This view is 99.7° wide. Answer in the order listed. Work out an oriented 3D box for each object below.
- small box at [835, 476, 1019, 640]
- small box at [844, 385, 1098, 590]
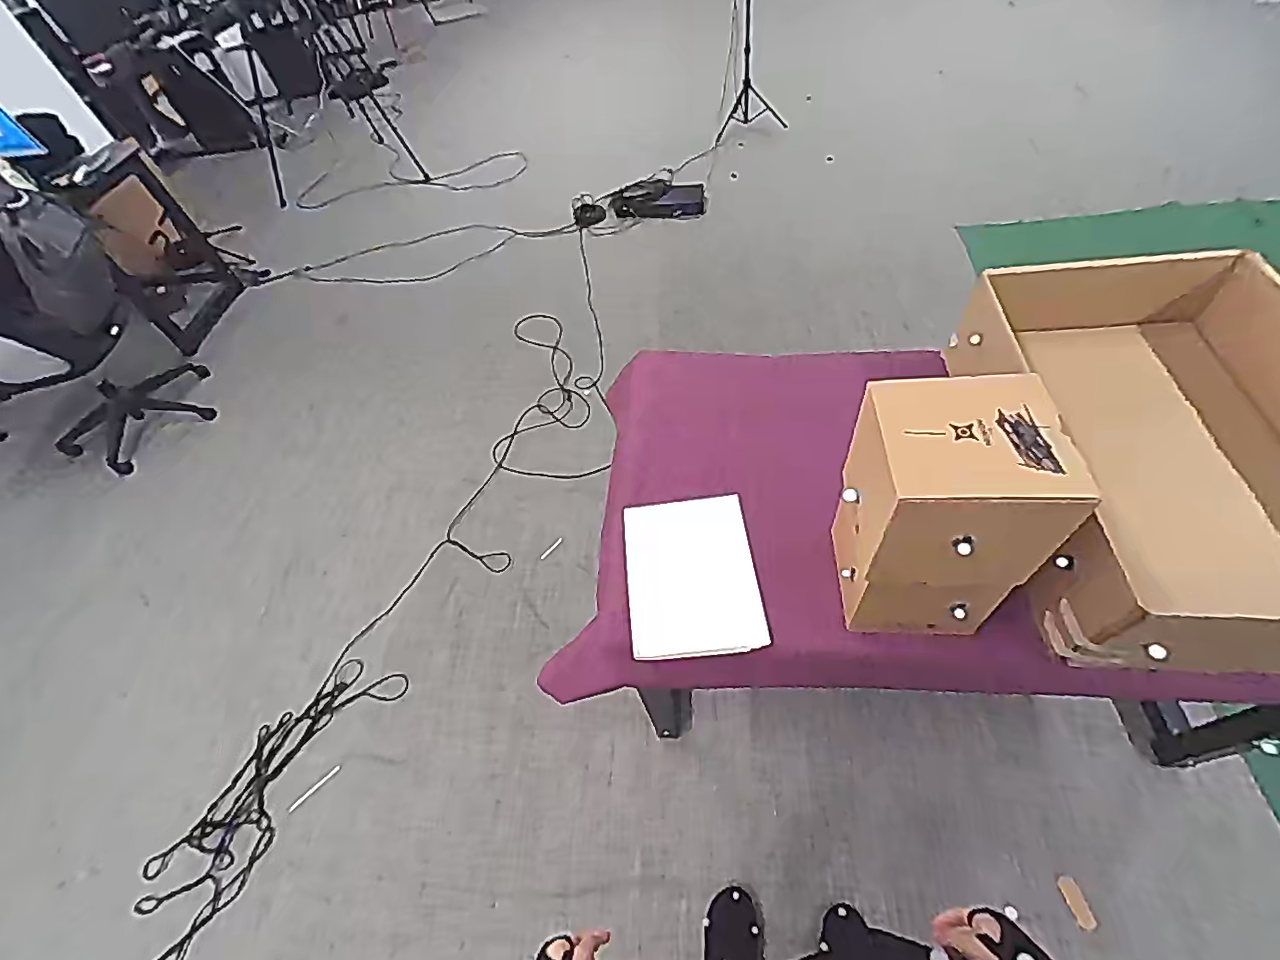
[{"bbox_3d":[0.370,0.105,0.737,0.168,0.176,0.179,0,51,9],"label":"small box"},{"bbox_3d":[0.342,0.012,0.604,0.179,0.176,0.168,0,51,9],"label":"small box"}]
